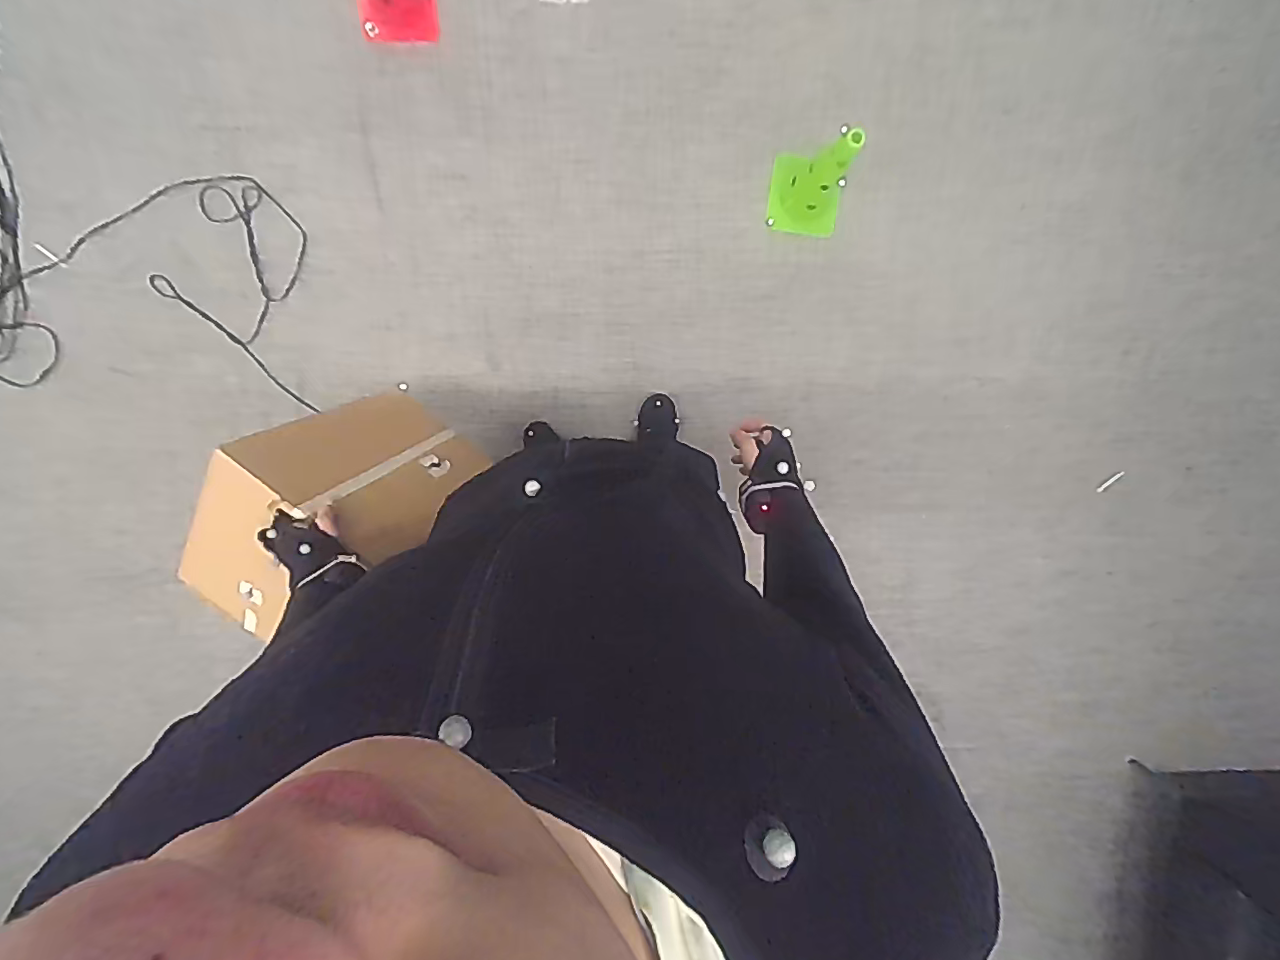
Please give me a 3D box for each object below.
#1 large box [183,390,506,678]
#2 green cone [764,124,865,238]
[{"bbox_3d":[-0.533,0.079,1.032,0.320,0.408,0.320,39,116,-2],"label":"large box"},{"bbox_3d":[0.468,-0.777,1.362,0.200,0.368,0.202,6,97,-4],"label":"green cone"}]
